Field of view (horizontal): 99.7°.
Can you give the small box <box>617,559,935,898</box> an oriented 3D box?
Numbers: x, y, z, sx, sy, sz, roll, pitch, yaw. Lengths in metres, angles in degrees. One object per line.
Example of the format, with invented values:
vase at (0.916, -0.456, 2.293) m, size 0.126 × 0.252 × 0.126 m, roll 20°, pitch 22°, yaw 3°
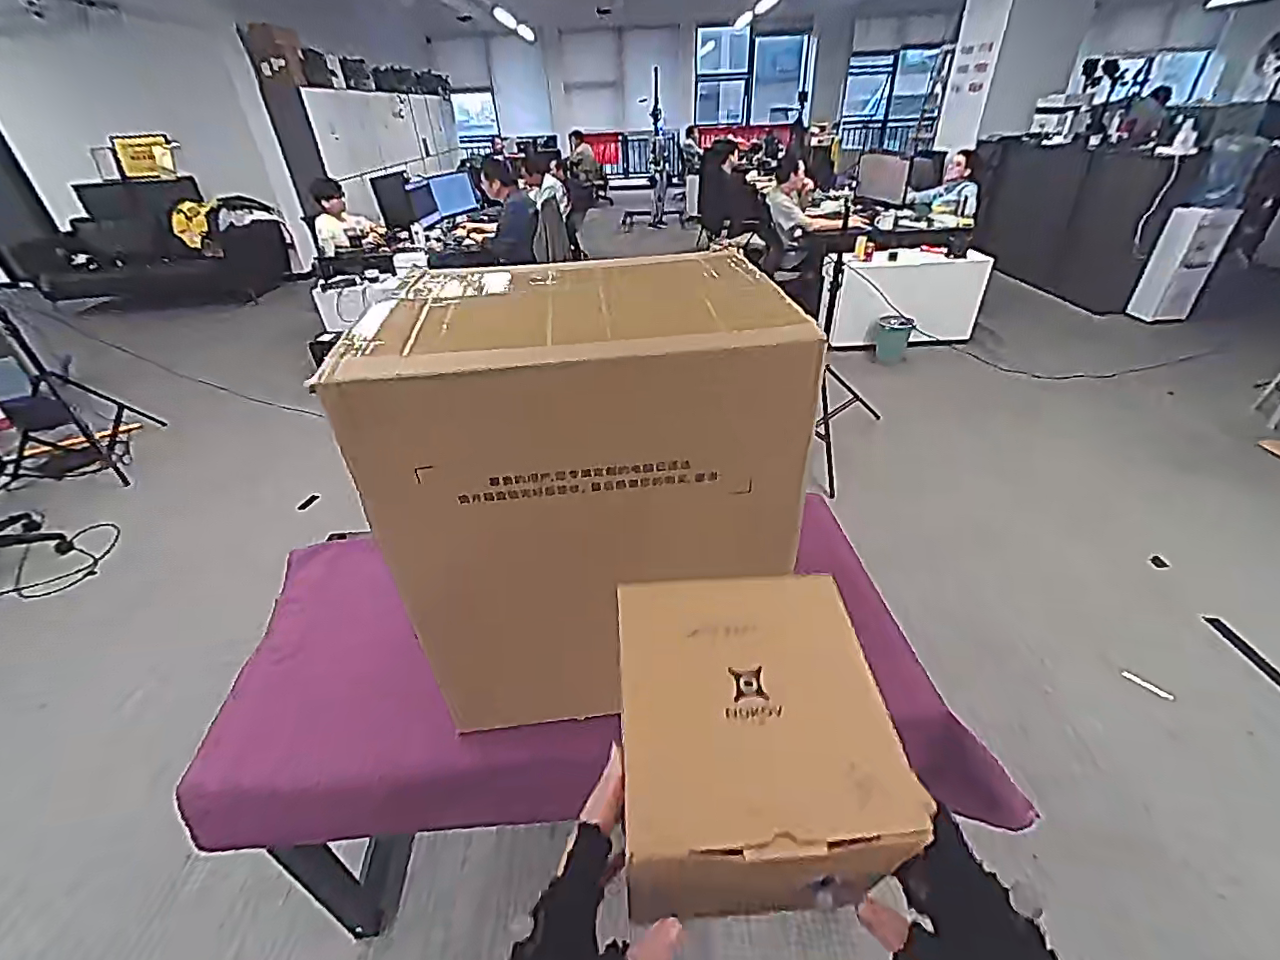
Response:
small box at (0.069, 0.180, 0.392) m, size 0.168 × 0.176 × 0.179 m, roll -2°, pitch 42°, yaw -4°
